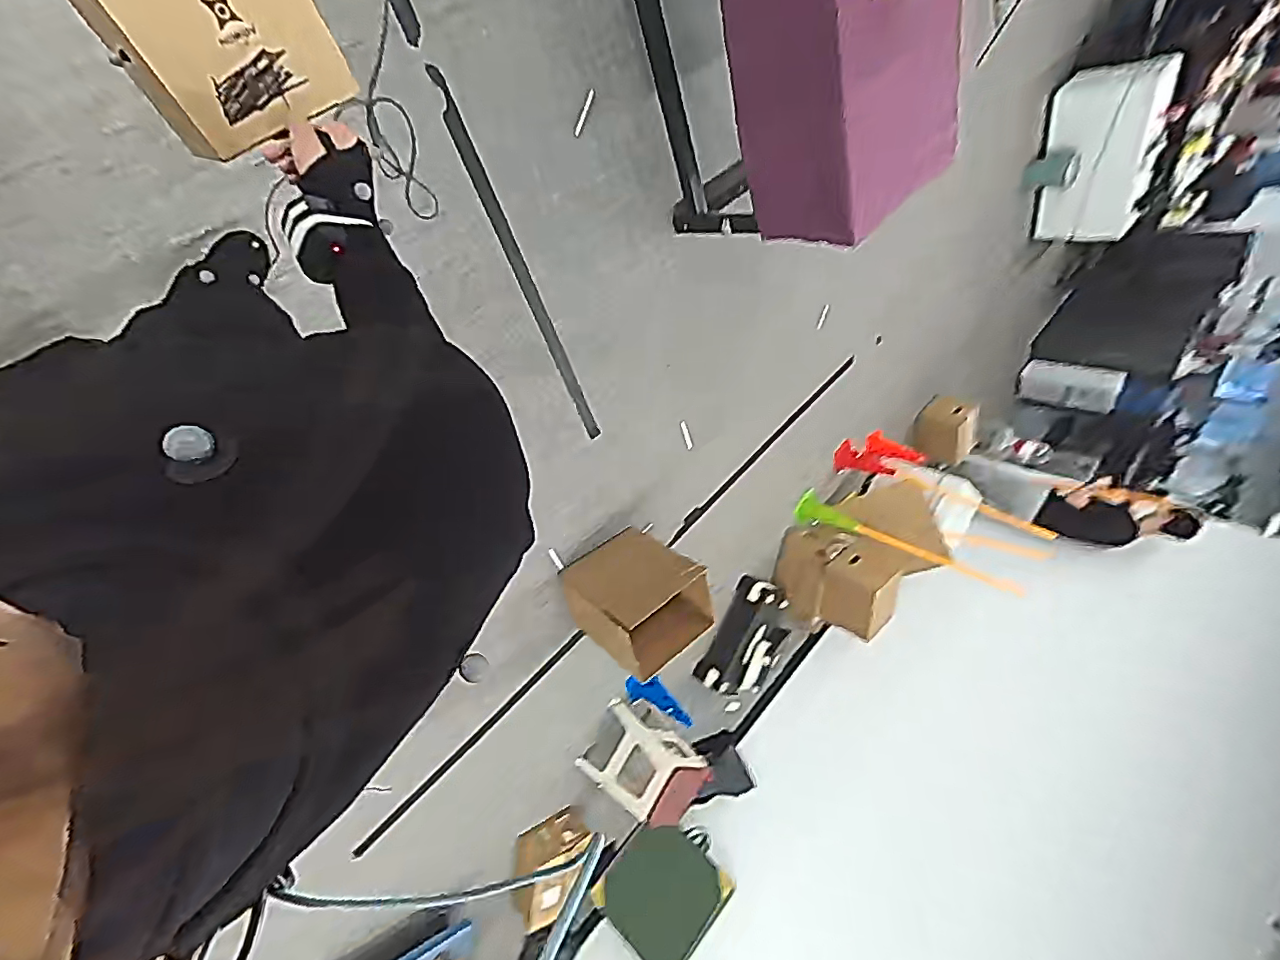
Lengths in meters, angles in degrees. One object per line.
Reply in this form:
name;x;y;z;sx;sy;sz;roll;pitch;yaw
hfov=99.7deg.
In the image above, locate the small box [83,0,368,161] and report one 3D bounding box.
small box;-0.425;-0.456;0.552;0.168;0.176;0.179;-44;139;-19
